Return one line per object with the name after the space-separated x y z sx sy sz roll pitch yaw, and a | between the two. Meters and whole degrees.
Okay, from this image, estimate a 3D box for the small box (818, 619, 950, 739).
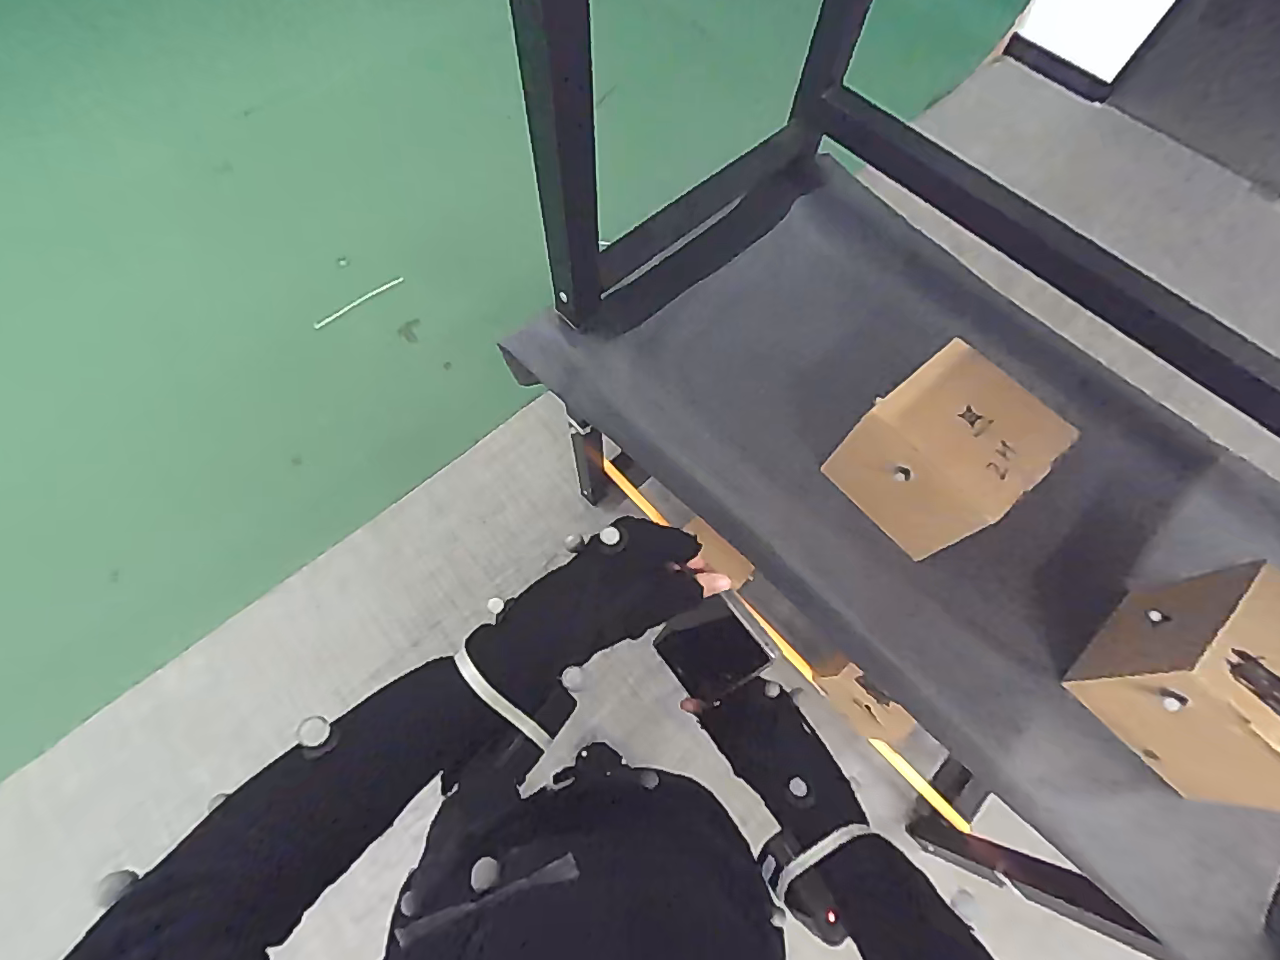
0.512 0.430 1.169 0.179 0.176 0.168 -37 74 -16 | small box

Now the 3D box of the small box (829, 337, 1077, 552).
0.374 -0.037 0.683 0.168 0.176 0.179 -38 73 -16 | small box
